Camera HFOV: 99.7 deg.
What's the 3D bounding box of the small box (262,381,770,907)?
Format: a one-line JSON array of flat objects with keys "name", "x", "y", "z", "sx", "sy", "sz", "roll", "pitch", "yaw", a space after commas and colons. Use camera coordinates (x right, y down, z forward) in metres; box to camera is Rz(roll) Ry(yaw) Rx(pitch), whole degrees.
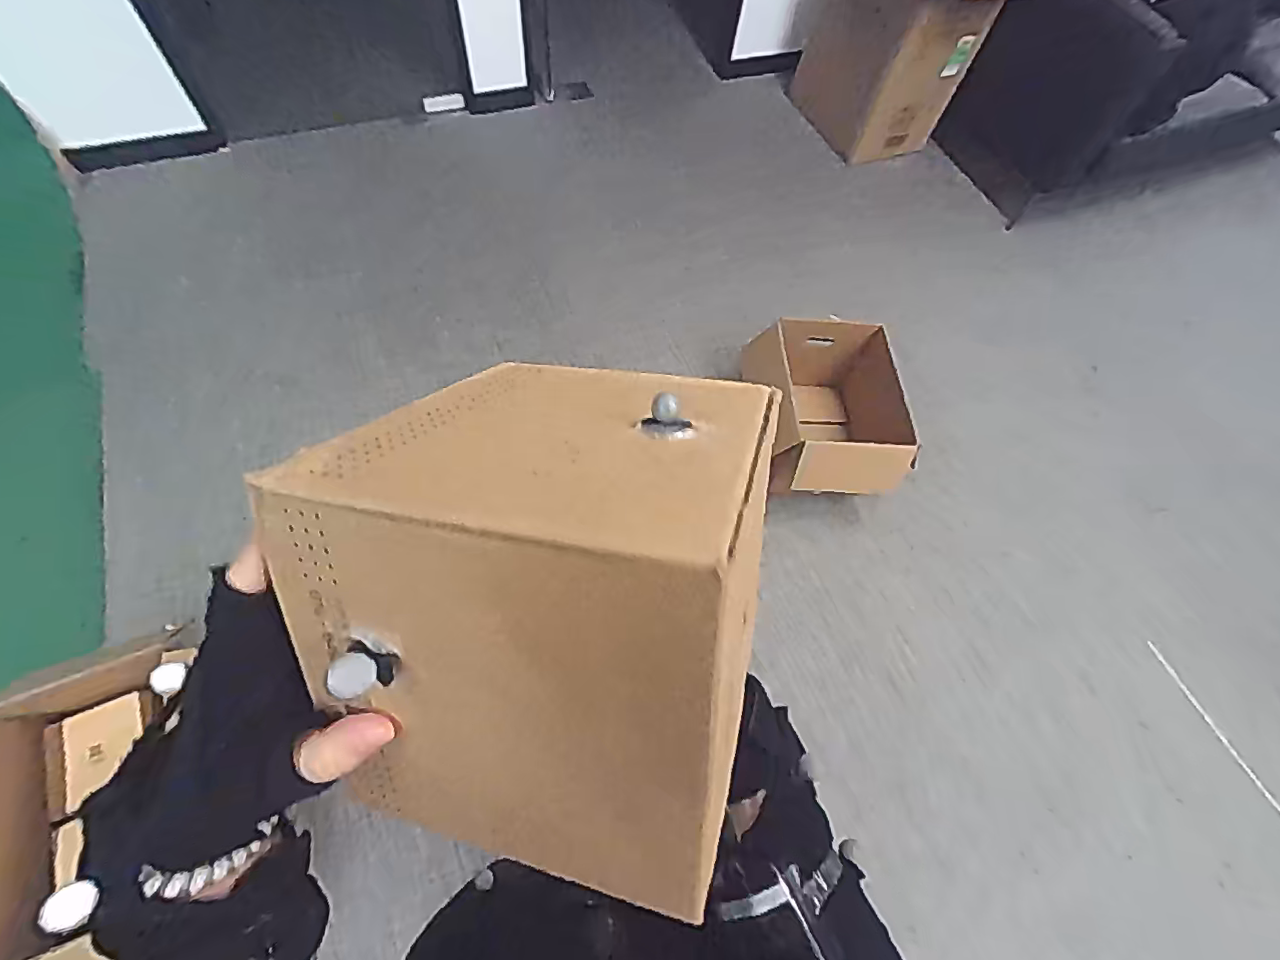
[{"name": "small box", "x": -0.033, "y": 0.050, "z": 0.272, "sx": 0.176, "sy": 0.168, "sz": 0.179, "roll": 6, "pitch": 25, "yaw": 16}]
